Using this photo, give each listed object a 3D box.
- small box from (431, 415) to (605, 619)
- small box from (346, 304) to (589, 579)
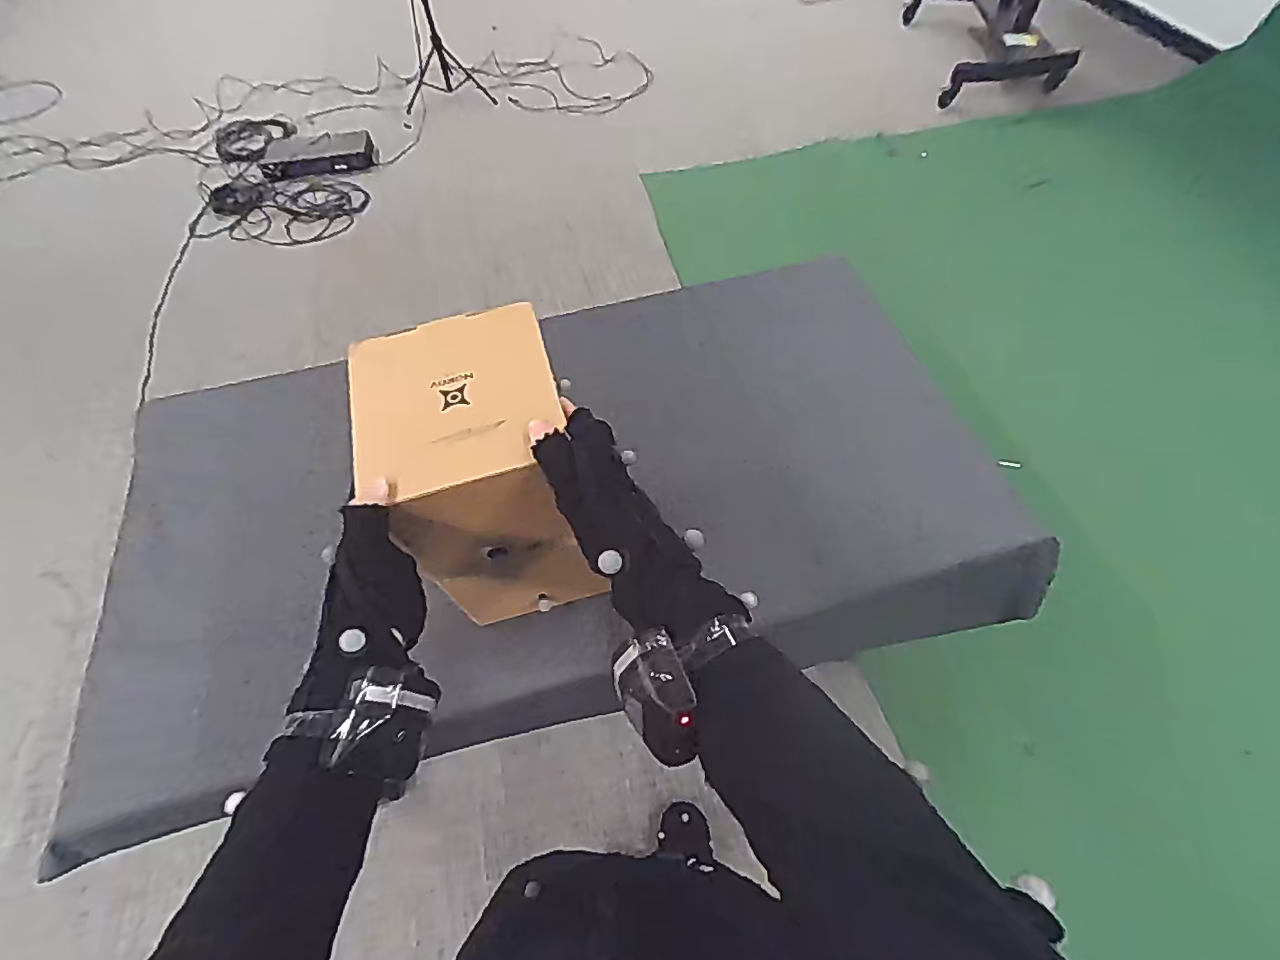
[{"bbox_3d":[-0.142,0.050,0.655,0.179,0.176,0.168,-14,60,-6],"label":"small box"},{"bbox_3d":[-0.154,-0.030,0.513,0.168,0.176,0.179,-16,62,-5],"label":"small box"}]
